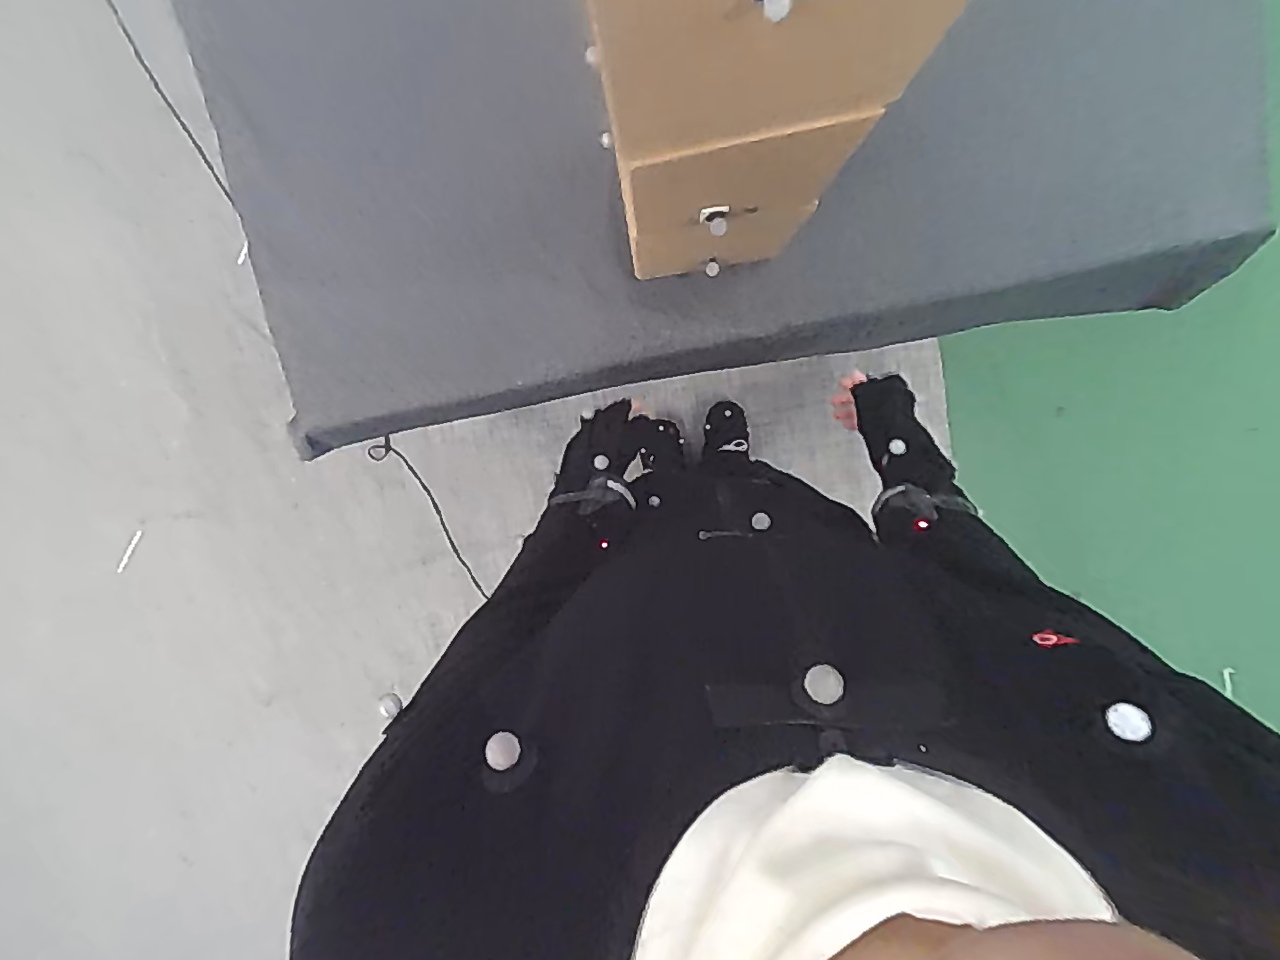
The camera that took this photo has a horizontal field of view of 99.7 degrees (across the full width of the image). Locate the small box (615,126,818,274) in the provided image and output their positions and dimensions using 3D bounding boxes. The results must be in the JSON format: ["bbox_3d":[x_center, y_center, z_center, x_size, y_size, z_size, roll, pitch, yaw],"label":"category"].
[{"bbox_3d":[0.068,-0.333,0.573,0.179,0.176,0.168,-10,97,2],"label":"small box"}]

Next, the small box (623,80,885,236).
[{"bbox_3d":[0.061,-0.314,0.412,0.168,0.176,0.179,-11,98,5],"label":"small box"}]

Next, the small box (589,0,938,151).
[{"bbox_3d":[0.054,-0.293,0.265,0.179,0.176,0.168,-10,98,4],"label":"small box"}]
